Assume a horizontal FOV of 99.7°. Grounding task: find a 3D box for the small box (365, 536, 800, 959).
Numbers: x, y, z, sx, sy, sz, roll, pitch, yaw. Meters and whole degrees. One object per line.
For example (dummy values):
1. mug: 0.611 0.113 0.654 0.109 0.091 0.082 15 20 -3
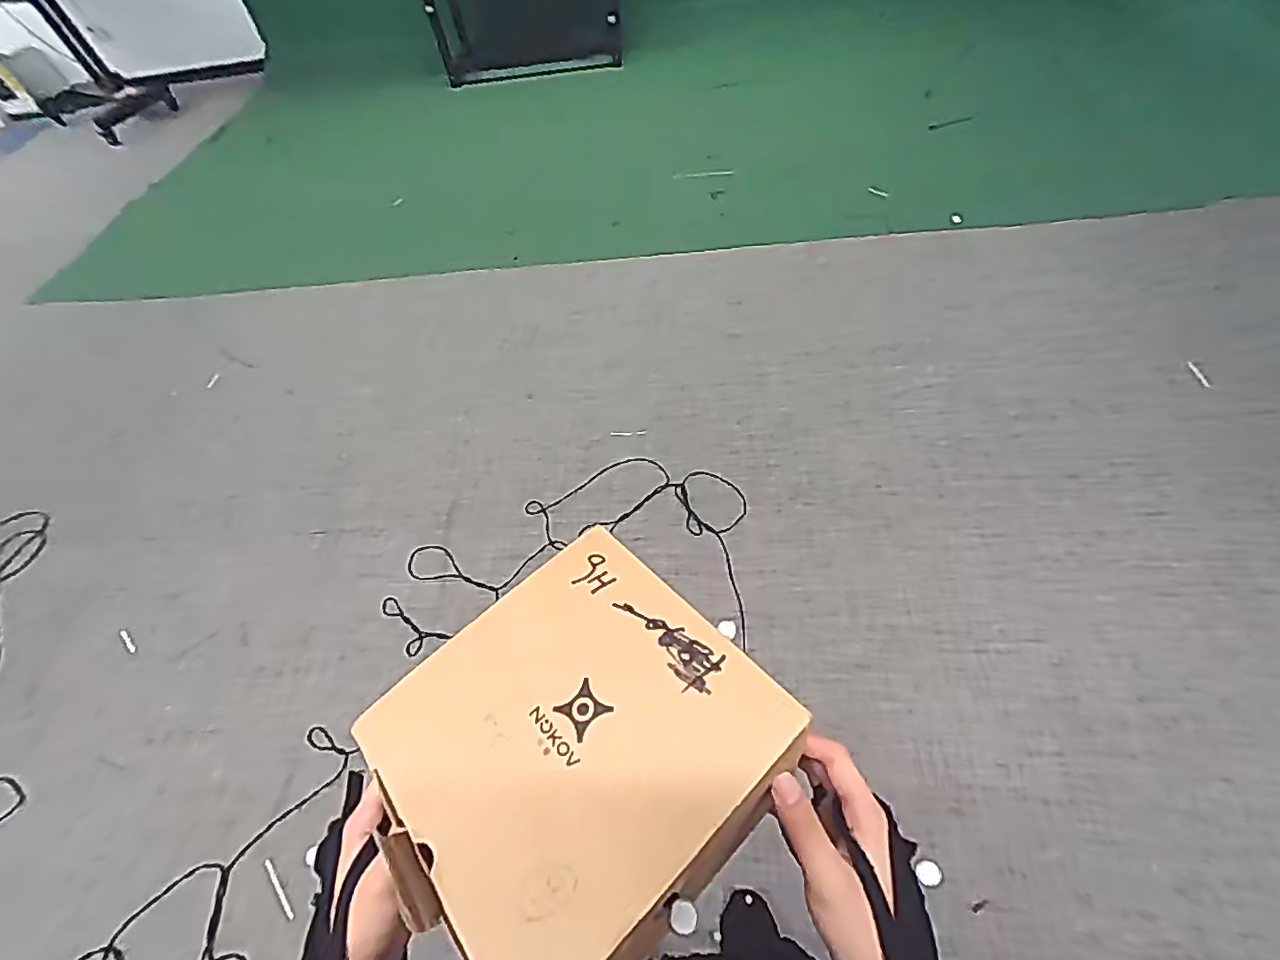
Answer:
1. small box: -0.022 0.177 0.338 0.179 0.176 0.168 -39 55 -20
